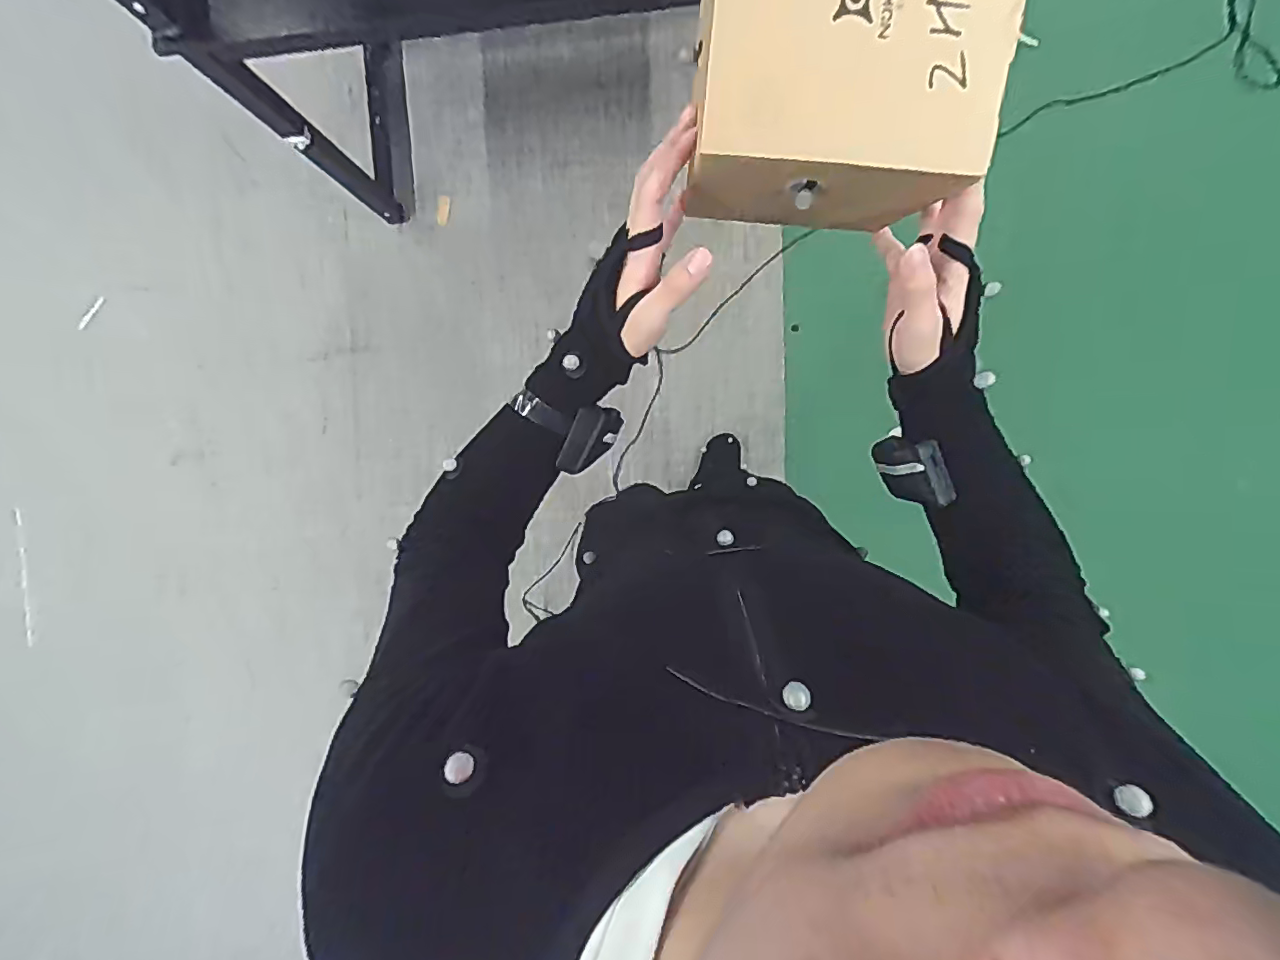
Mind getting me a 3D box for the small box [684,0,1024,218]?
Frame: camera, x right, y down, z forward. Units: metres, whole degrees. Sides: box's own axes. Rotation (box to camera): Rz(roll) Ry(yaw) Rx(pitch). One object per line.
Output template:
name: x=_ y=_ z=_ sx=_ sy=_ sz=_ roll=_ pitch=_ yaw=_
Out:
small box: x=0.125 y=-0.289 z=0.372 sx=0.179 sy=0.176 sz=0.168 roll=5 pitch=105 yaw=0
